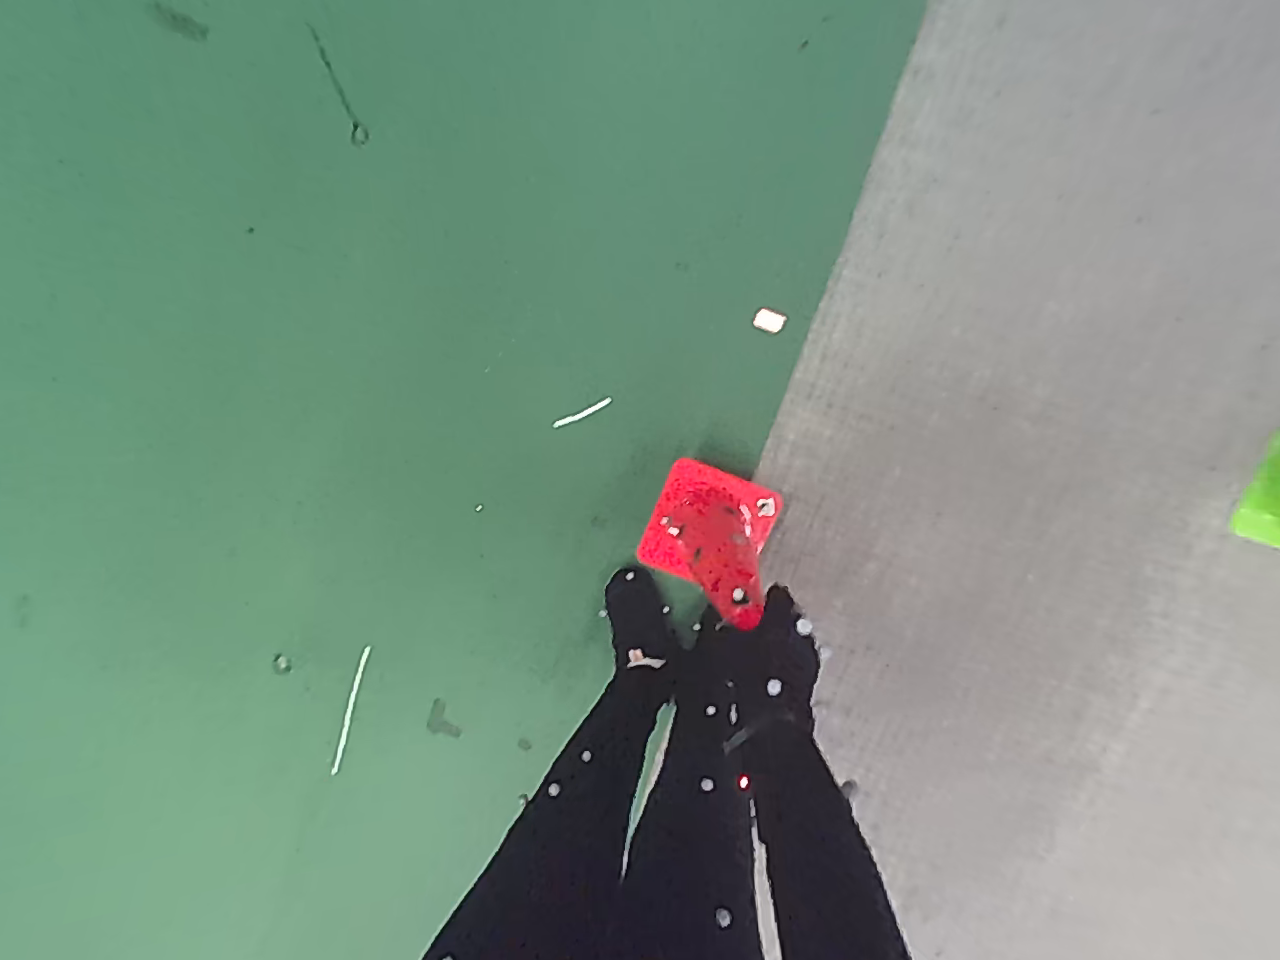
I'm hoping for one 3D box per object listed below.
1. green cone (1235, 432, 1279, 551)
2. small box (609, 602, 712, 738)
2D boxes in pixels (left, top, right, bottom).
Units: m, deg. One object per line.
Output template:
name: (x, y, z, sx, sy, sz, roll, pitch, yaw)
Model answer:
green cone: (1.069, 0.052, 0.697, 0.202, 0.368, 0.200, 17, 100, 4)
small box: (0.033, 0.349, 1.012, 0.168, 0.176, 0.179, 4, 101, -3)
